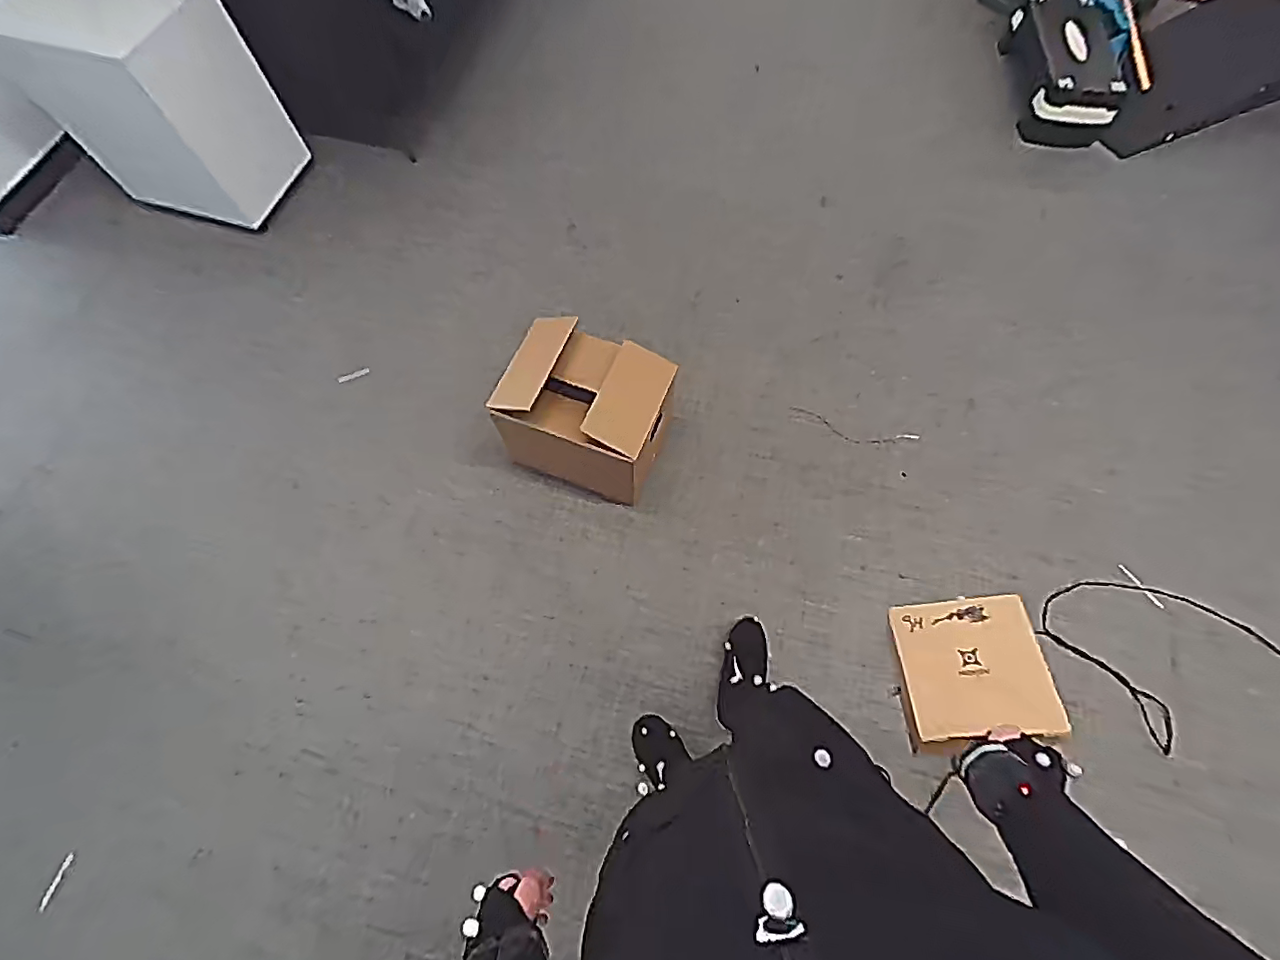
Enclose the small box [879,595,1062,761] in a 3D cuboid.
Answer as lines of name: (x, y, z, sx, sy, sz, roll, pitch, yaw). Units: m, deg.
small box: (0.453, 0.290, 0.769, 0.168, 0.176, 0.179, -15, 50, 15)
